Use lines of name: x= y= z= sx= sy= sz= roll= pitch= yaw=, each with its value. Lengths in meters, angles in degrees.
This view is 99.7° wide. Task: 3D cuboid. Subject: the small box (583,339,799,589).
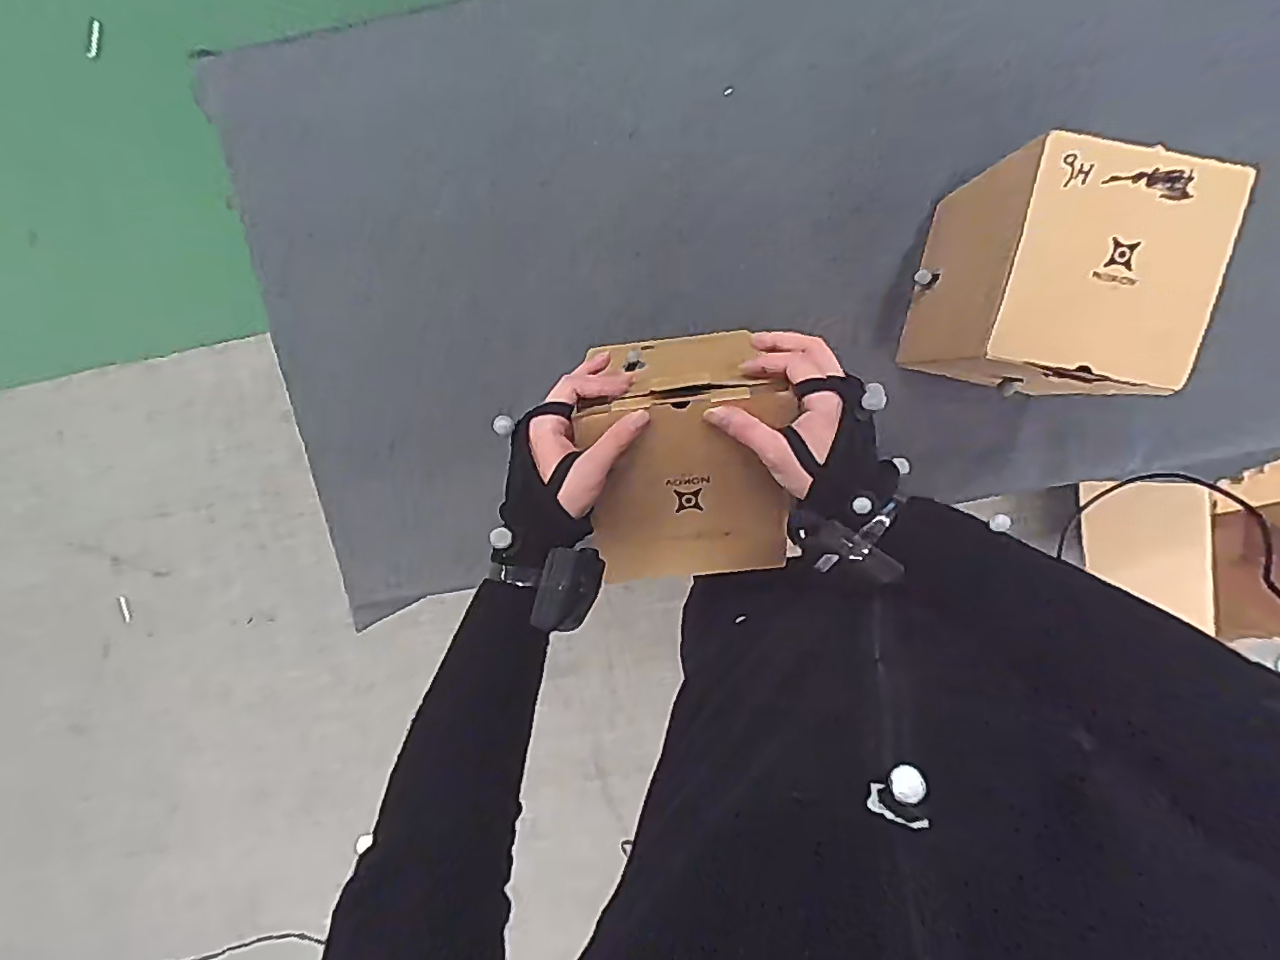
small box: x=0.044 y=-0.026 z=0.507 sx=0.168 sy=0.176 sz=0.179 roll=-7 pitch=118 yaw=3

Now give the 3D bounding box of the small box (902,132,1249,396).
small box: x=0.377 y=-0.185 z=0.512 sx=0.168 sy=0.176 sz=0.179 roll=12 pitch=101 yaw=0
